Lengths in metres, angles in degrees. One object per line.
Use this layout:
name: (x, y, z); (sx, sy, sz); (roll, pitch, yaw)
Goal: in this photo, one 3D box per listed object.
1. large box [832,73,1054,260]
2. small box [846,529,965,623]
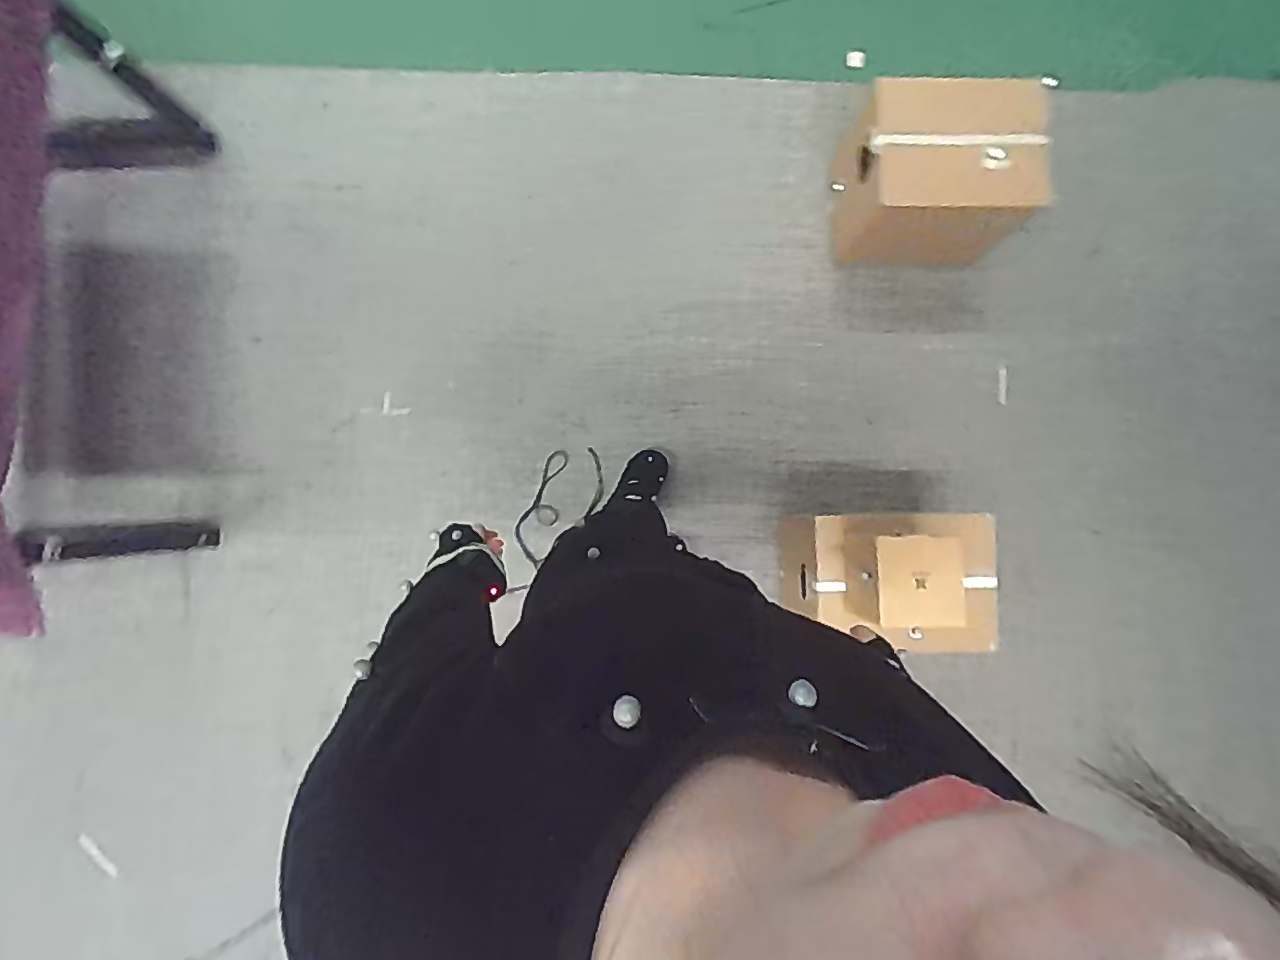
large box: (0.753, -0.786, 1.400); (0.408, 0.320, 0.320); (0, 87, -2)
small box: (0.537, 0.192, 1.114); (0.168, 0.176, 0.179); (0, 85, -1)
